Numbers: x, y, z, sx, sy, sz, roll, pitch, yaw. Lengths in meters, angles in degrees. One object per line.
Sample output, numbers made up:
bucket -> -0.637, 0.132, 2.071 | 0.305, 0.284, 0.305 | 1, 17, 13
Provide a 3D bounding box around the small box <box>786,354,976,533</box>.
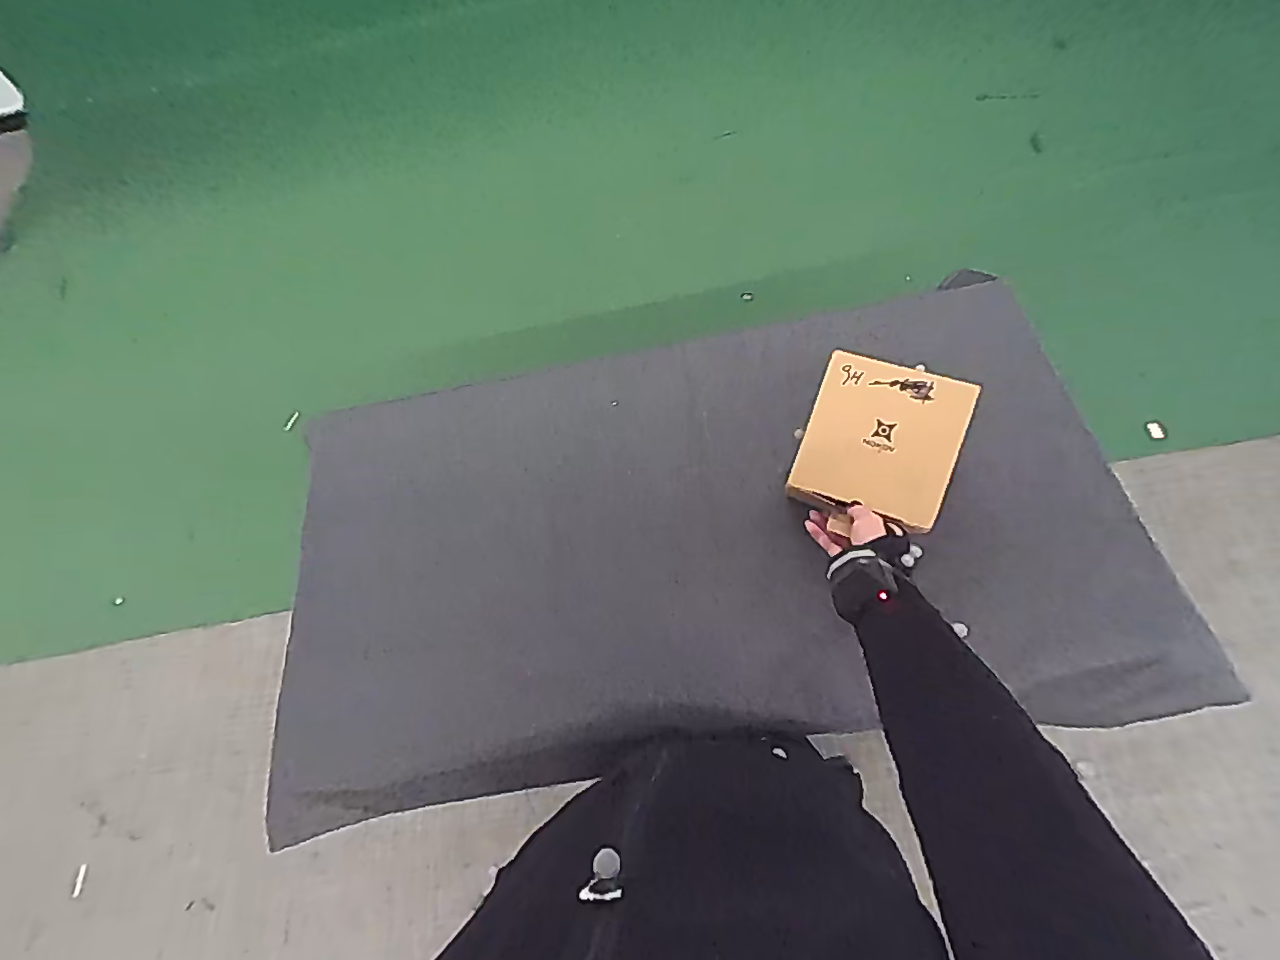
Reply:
small box -> 0.300, -0.039, 0.708 | 0.168, 0.176, 0.179 | 20, 90, 16
